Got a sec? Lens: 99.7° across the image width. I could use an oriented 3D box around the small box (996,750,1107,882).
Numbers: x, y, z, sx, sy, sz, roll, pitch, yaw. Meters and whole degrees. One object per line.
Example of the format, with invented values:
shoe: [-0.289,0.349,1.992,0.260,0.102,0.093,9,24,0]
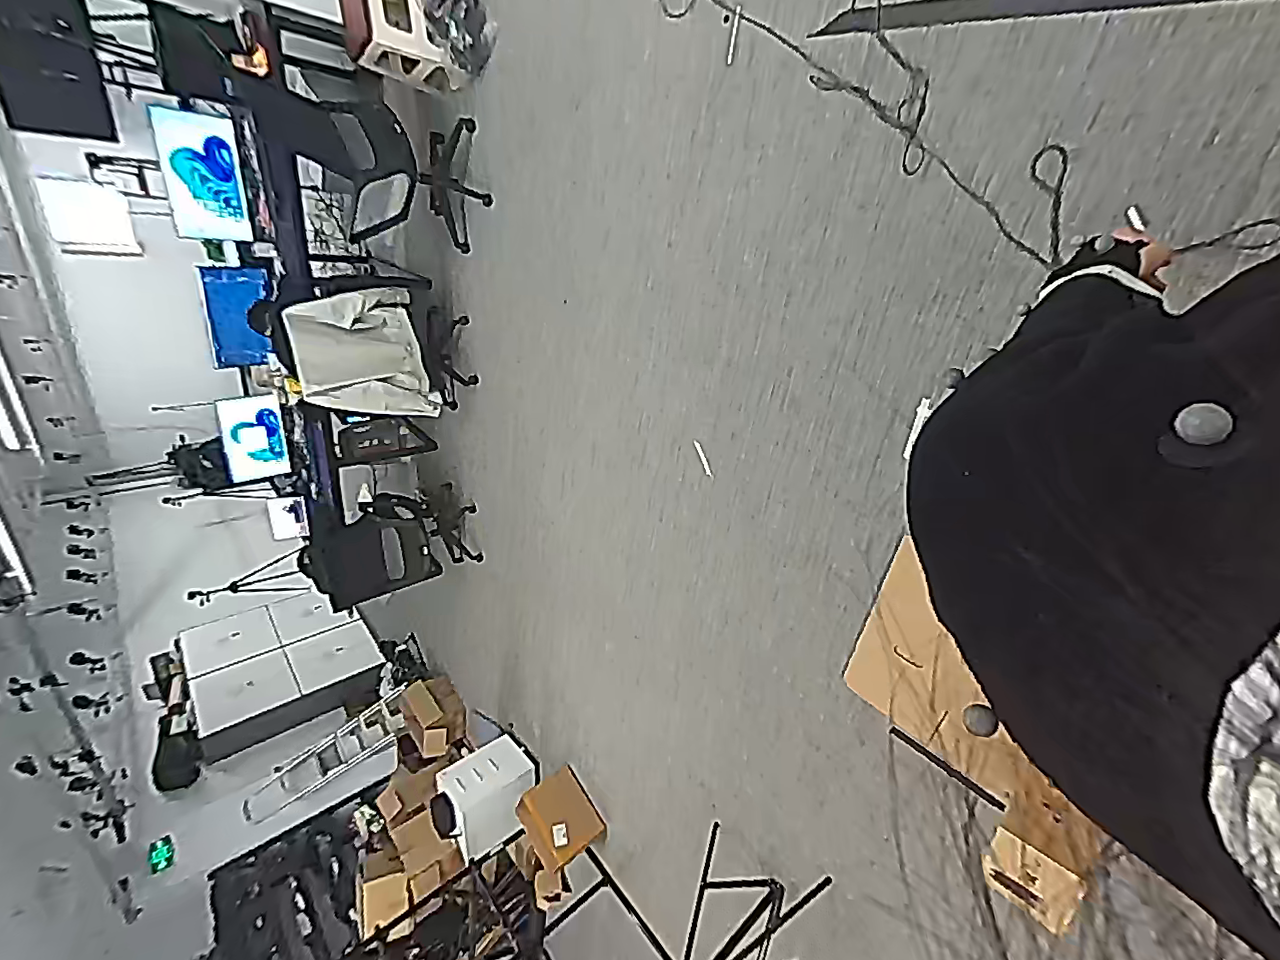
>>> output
small box: [1.011,0.815,1.327,0.168,0.176,0.179,21,118,42]
